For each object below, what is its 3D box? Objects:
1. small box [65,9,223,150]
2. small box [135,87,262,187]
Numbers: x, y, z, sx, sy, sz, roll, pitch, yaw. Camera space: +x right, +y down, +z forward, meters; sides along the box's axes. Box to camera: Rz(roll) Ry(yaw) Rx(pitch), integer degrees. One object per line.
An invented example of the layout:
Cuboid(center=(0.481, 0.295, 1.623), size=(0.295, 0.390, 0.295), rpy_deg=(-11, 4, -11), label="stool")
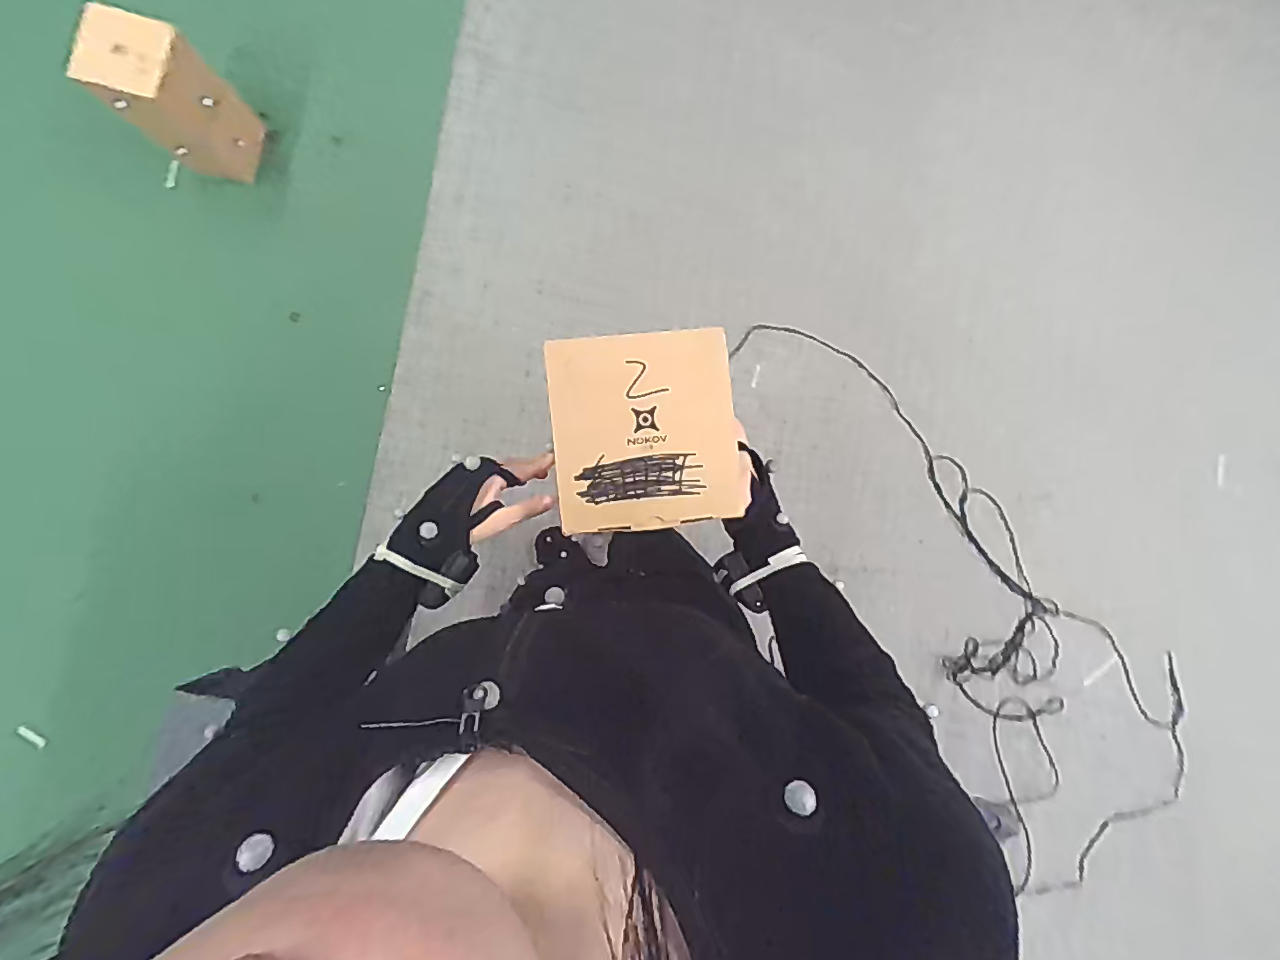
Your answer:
Cuboid(center=(-1.090, -0.877, 1.202), size=(0.179, 0.176, 0.168), rpy_deg=(14, 88, -5), label="small box")
Cuboid(center=(-1.104, -0.876, 1.367), size=(0.179, 0.176, 0.168), rpy_deg=(11, 88, -4), label="small box")
